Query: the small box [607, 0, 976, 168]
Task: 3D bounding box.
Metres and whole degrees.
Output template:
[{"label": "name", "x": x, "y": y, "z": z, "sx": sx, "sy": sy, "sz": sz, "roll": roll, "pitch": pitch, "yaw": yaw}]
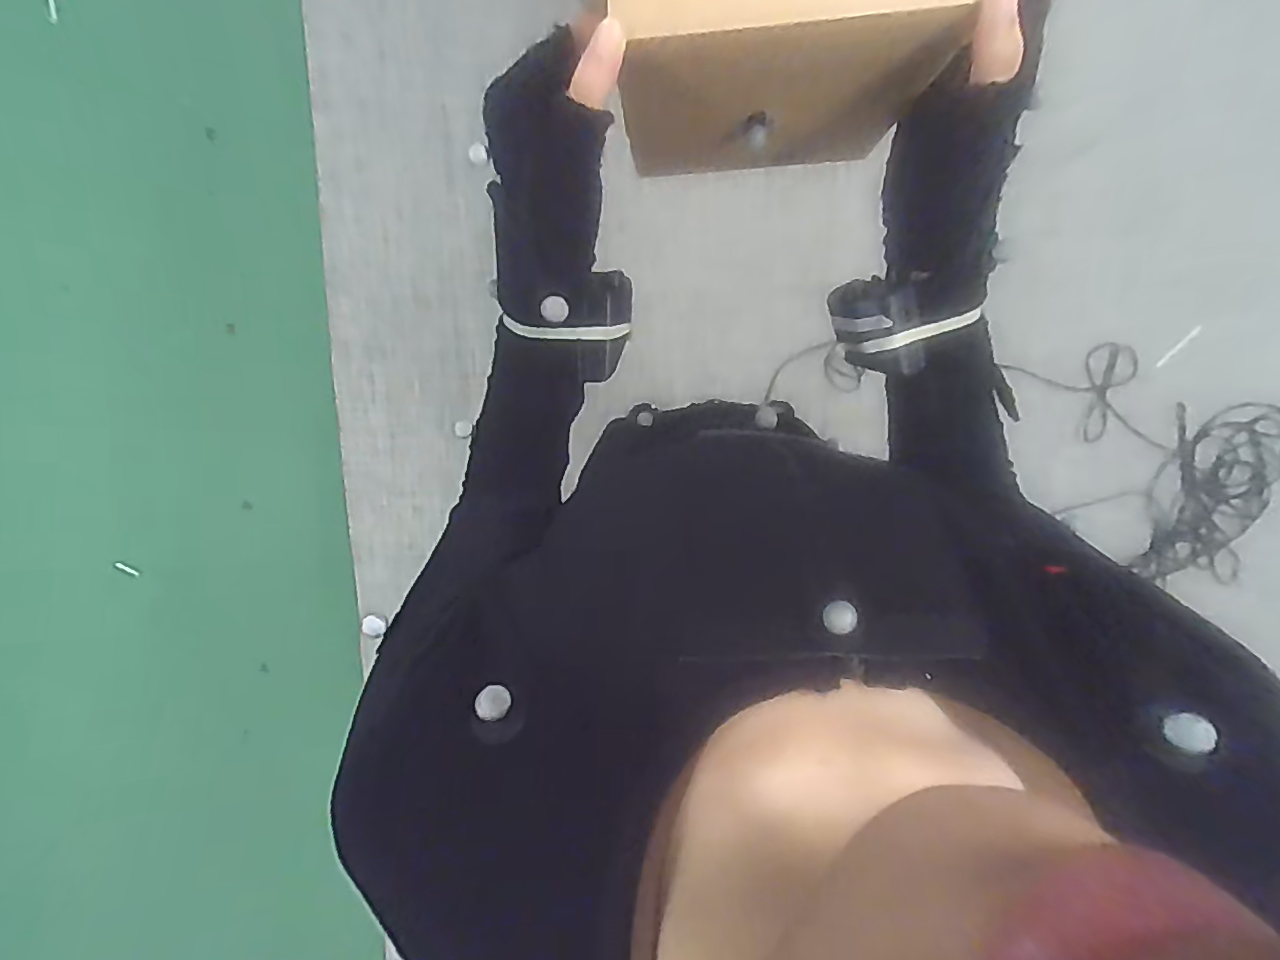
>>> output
[{"label": "small box", "x": 0.069, "y": -0.299, "z": 0.307, "sx": 0.168, "sy": 0.176, "sz": 0.179, "roll": -3, "pitch": 100, "yaw": 4}]
